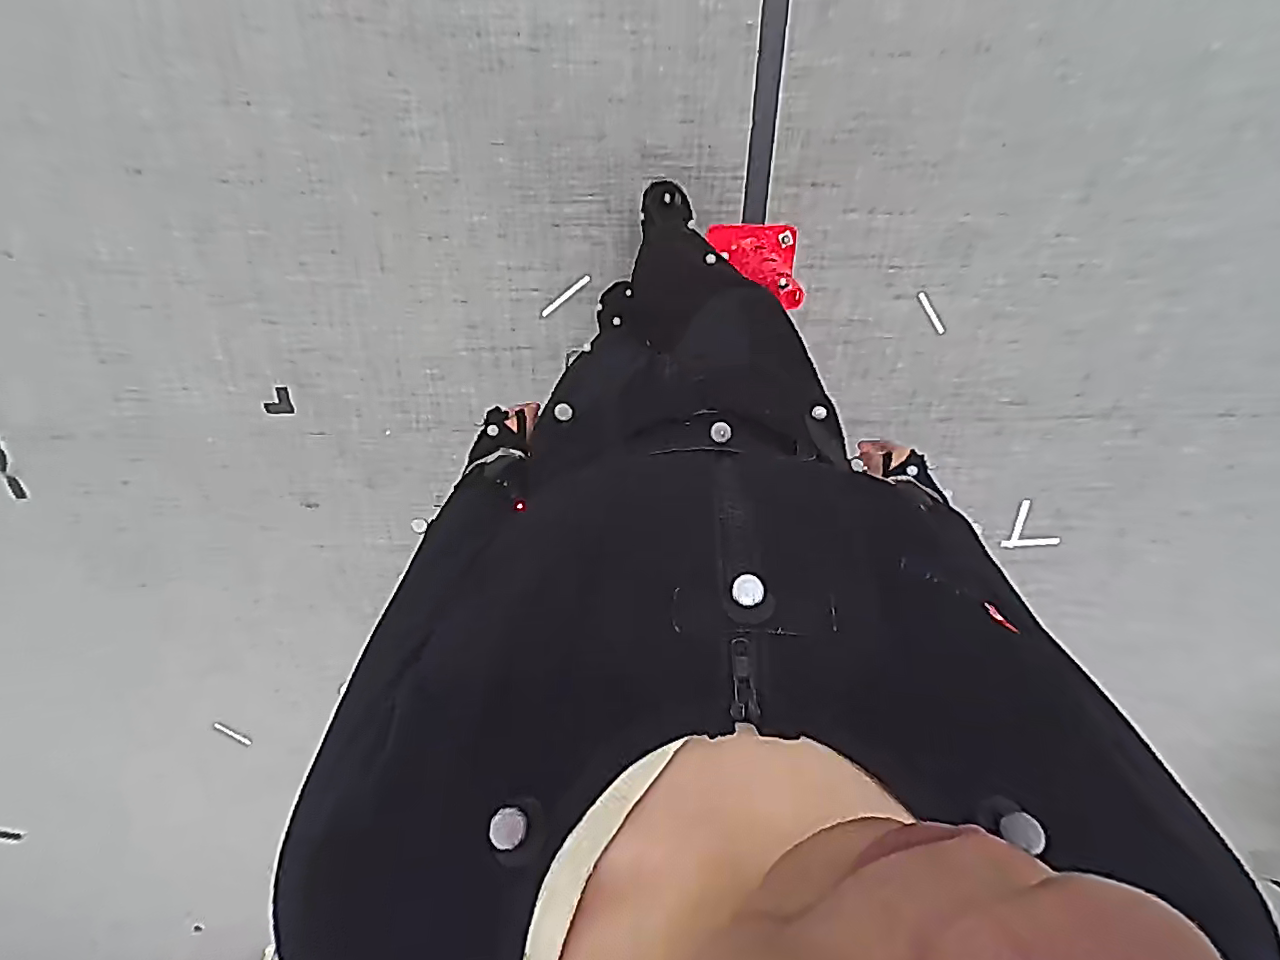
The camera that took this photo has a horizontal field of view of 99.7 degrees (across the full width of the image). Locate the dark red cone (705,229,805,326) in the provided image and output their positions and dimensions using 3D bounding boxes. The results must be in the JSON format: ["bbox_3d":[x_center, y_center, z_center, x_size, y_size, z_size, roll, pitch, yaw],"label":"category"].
[{"bbox_3d":[0.248,-0.368,1.045,0.201,0.394,0.202,-1,117,-1],"label":"dark red cone"}]
